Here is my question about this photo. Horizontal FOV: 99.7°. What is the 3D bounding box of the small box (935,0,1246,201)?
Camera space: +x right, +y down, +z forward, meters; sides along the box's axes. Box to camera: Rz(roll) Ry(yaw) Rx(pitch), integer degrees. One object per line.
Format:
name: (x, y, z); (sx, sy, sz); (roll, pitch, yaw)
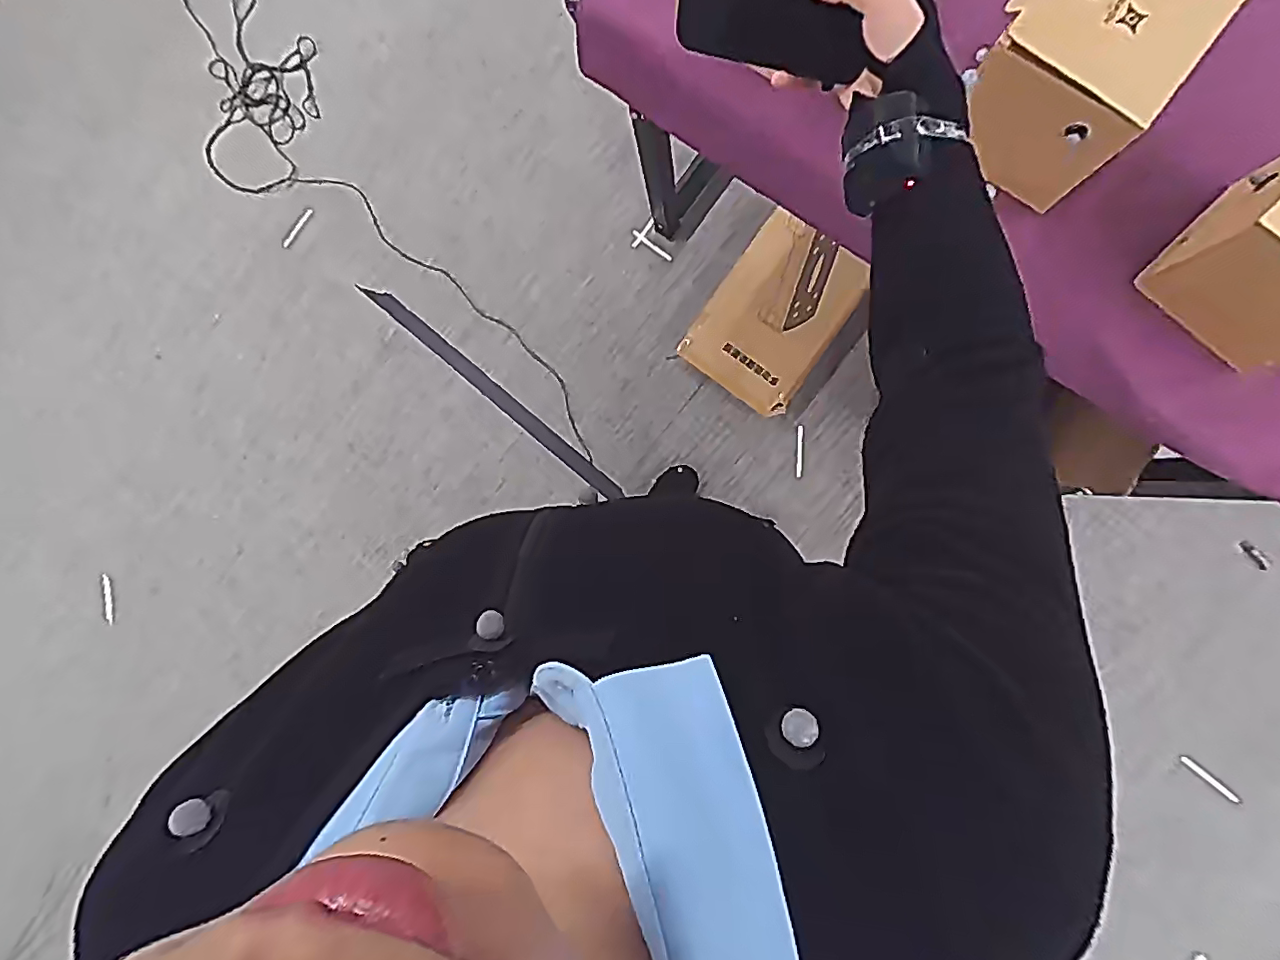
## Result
small box: (0.491, -0.461, 0.622); (0.179, 0.176, 0.168); (37, 92, 6)

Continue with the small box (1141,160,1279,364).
small box: (0.730, -0.252, 0.593); (0.179, 0.176, 0.168); (44, 95, 5)
